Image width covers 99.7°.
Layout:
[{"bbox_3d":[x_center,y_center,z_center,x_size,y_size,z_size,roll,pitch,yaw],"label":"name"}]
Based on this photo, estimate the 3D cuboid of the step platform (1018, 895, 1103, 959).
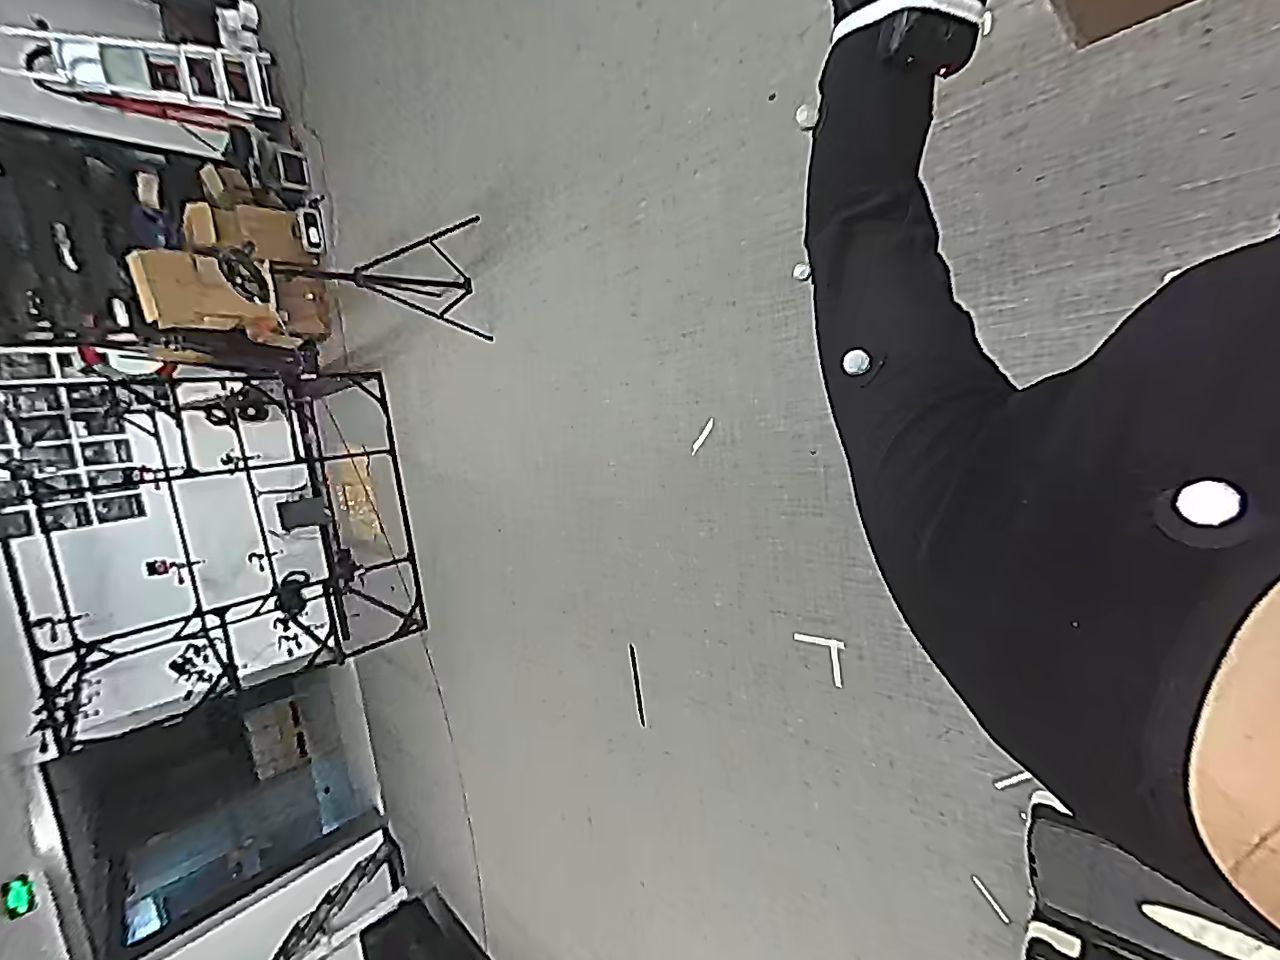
[{"bbox_3d":[1.207,1.214,1.131,0.684,0.204,0.286,-3,97,48],"label":"step platform"}]
